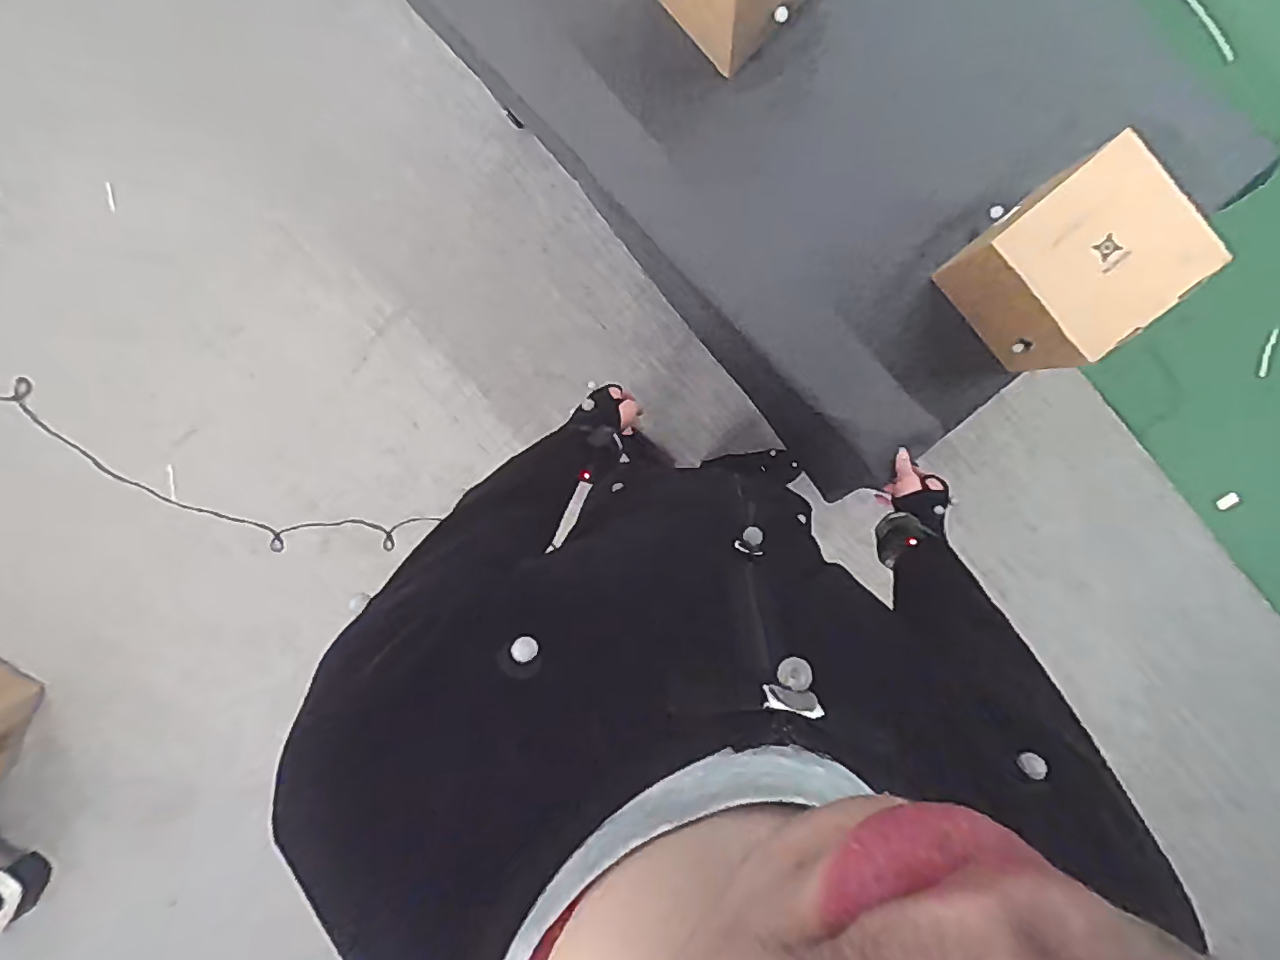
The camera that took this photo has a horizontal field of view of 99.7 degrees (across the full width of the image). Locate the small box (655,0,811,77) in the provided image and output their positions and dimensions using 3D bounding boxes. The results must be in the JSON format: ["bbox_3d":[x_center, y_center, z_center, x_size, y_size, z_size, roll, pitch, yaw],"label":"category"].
[{"bbox_3d":[0.109,-0.634,0.631,0.168,0.176,0.179,-42,93,12],"label":"small box"}]

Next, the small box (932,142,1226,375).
[{"bbox_3d":[0.496,-0.242,0.644,0.168,0.176,0.179,-41,91,10],"label":"small box"}]
